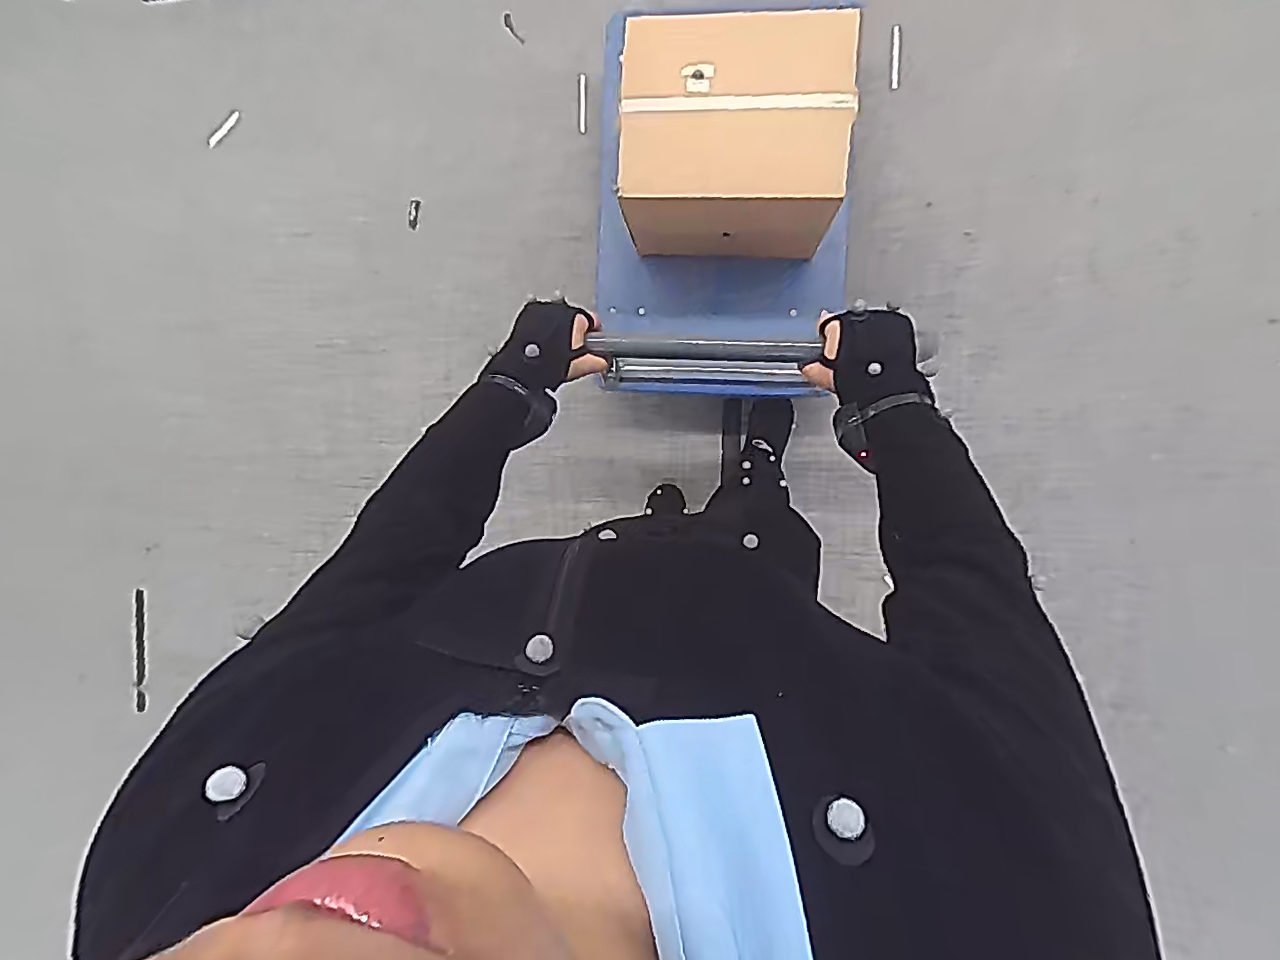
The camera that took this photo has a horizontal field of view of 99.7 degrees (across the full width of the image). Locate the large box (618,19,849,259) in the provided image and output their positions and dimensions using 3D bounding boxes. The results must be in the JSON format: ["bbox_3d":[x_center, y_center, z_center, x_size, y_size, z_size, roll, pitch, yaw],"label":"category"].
[{"bbox_3d":[0.183,-0.661,1.115,0.408,0.320,0.320,4,93,8],"label":"large box"}]
